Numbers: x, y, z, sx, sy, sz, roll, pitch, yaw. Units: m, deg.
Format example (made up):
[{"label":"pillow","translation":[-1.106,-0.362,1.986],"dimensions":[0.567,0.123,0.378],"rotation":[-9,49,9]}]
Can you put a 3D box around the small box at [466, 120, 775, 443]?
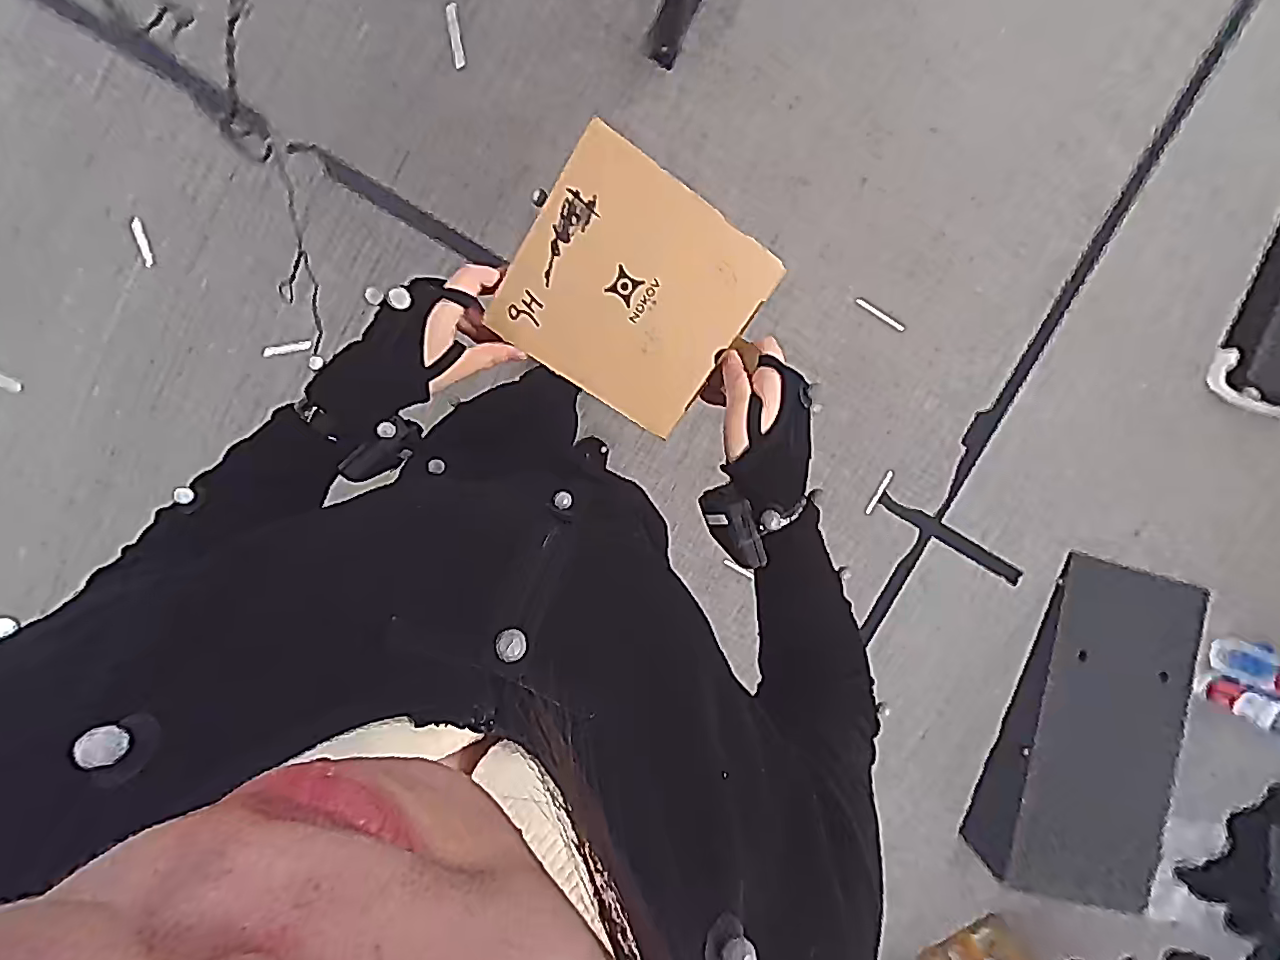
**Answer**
[{"label":"small box","translation":[-0.019,-0.163,0.472],"dimensions":[0.179,0.176,0.168],"rotation":[31,105,-14]}]
